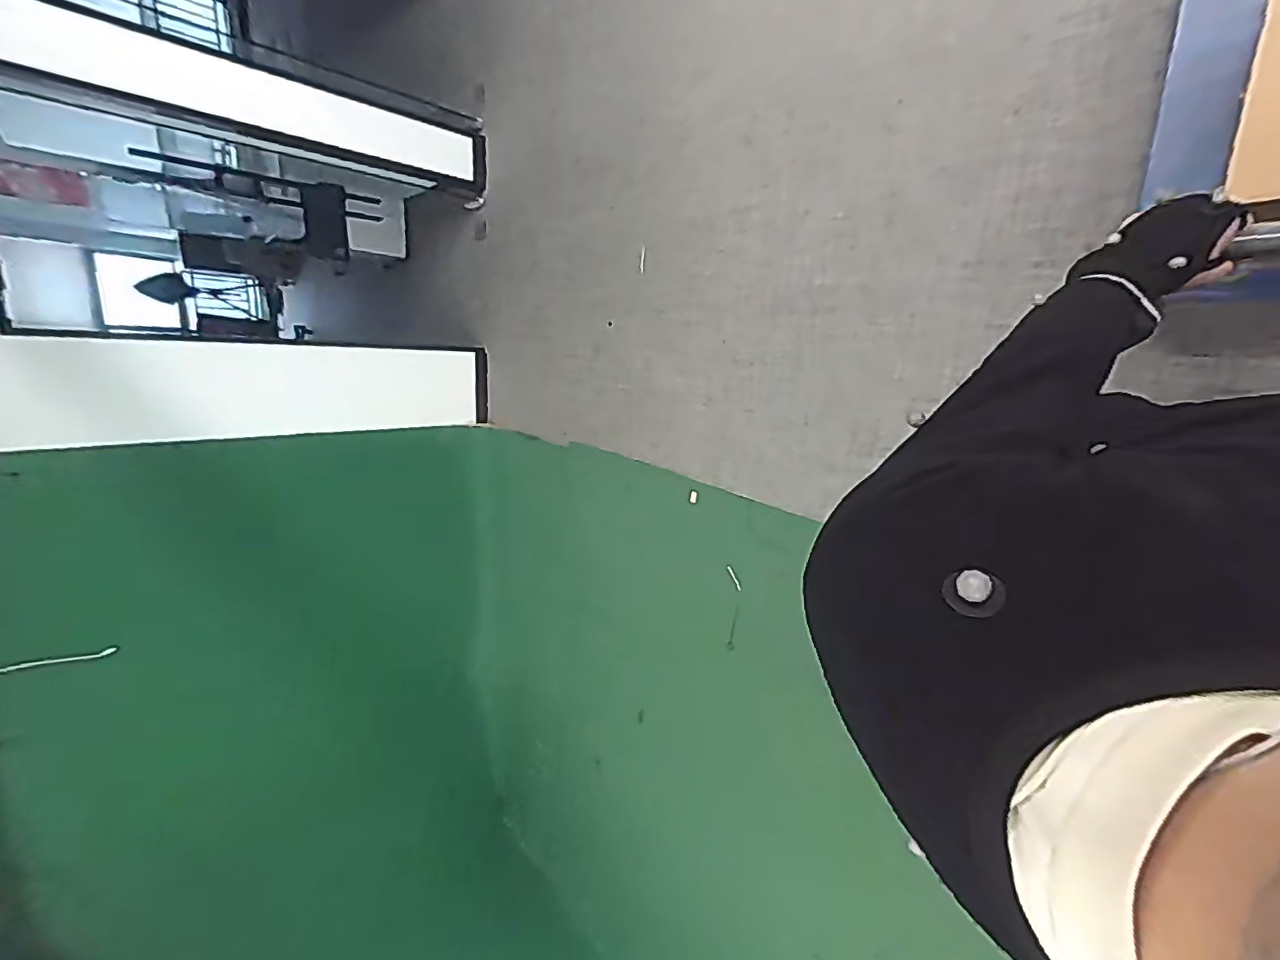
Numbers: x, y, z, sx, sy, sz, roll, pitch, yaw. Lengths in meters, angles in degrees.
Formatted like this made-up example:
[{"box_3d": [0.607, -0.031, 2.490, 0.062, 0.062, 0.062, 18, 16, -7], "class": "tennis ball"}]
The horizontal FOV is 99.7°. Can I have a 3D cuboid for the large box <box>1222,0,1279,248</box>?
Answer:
[{"box_3d": [1.060, -0.573, 0.731, 0.320, 0.320, 0.408, 14, 107, 46], "class": "large box"}]
